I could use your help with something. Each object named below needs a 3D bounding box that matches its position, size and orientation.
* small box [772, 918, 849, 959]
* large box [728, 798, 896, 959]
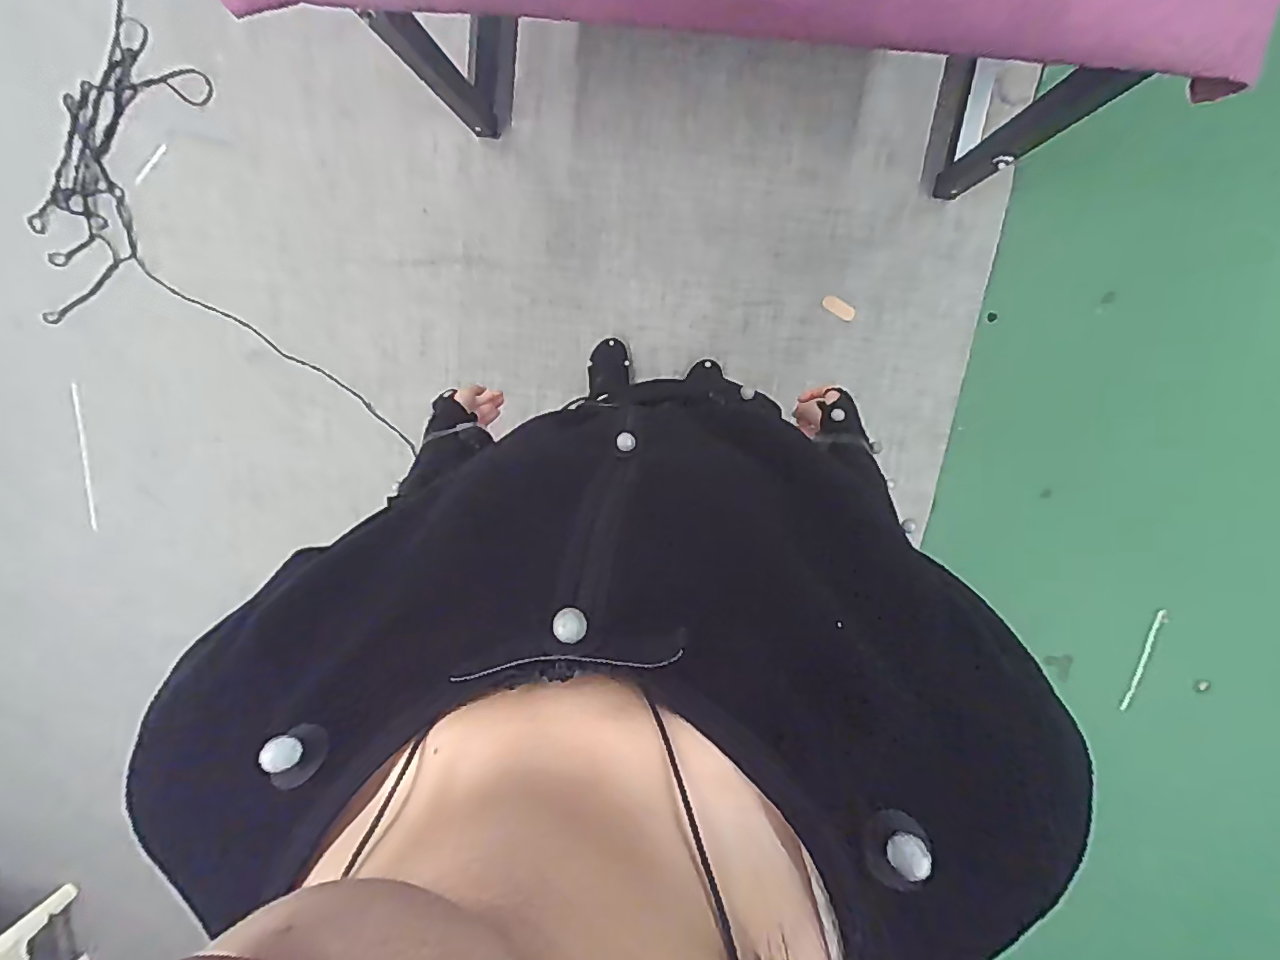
[{"bbox_3d":[0.431,1.237,1.343,0.179,0.176,0.168,-2,100,7],"label":"small box"},{"bbox_3d":[0.482,1.182,1.578,0.408,0.320,0.320,-6,103,6],"label":"large box"}]
